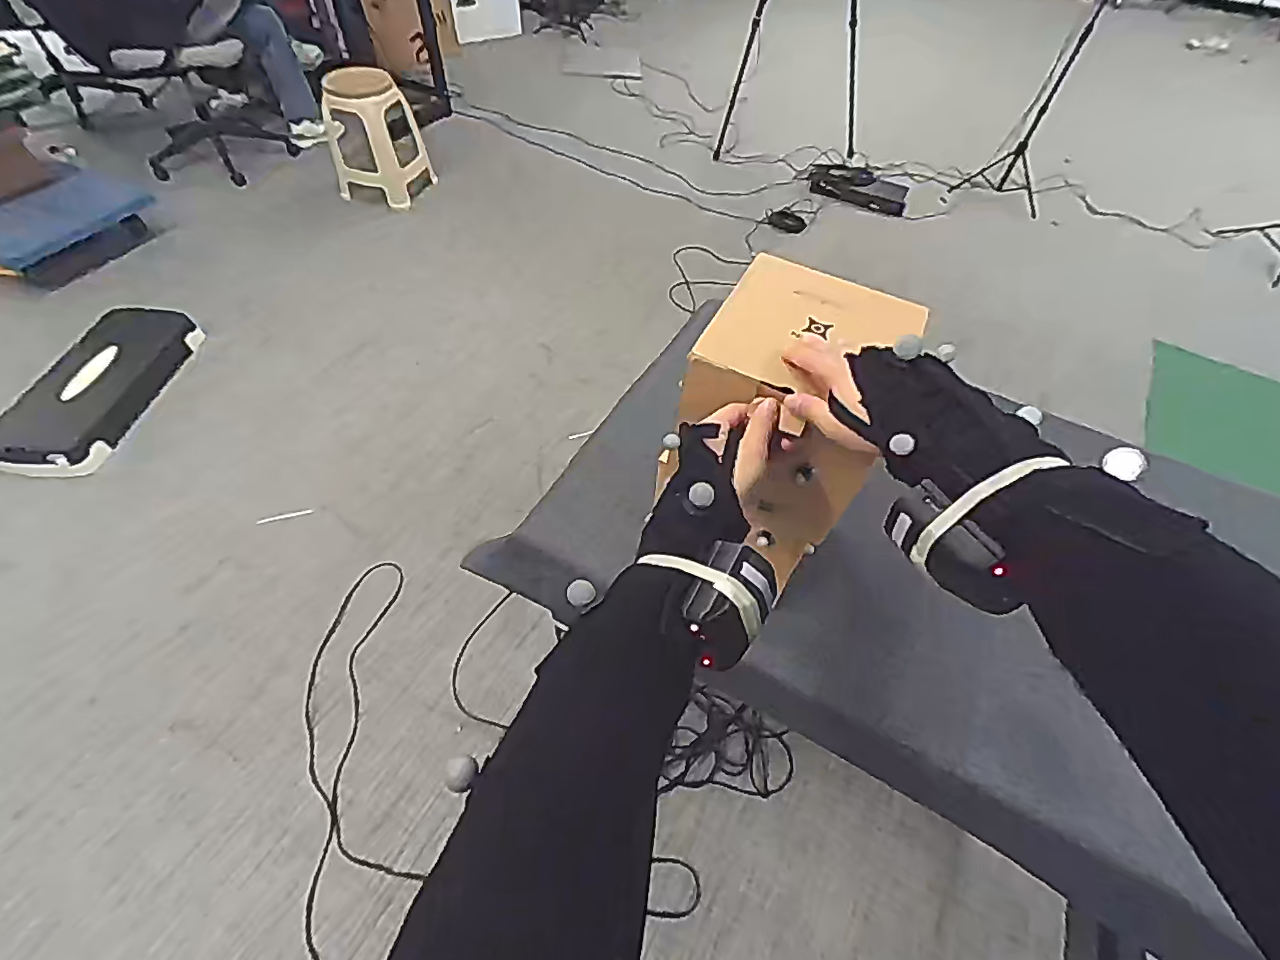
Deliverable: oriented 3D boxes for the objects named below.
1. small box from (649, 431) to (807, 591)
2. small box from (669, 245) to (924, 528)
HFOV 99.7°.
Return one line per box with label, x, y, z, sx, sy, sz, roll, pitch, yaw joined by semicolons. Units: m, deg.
small box;0.125;0.005;0.649;0.179;0.176;0.168;28;56;16
small box;0.137;-0.084;0.515;0.168;0.176;0.179;24;54;11
